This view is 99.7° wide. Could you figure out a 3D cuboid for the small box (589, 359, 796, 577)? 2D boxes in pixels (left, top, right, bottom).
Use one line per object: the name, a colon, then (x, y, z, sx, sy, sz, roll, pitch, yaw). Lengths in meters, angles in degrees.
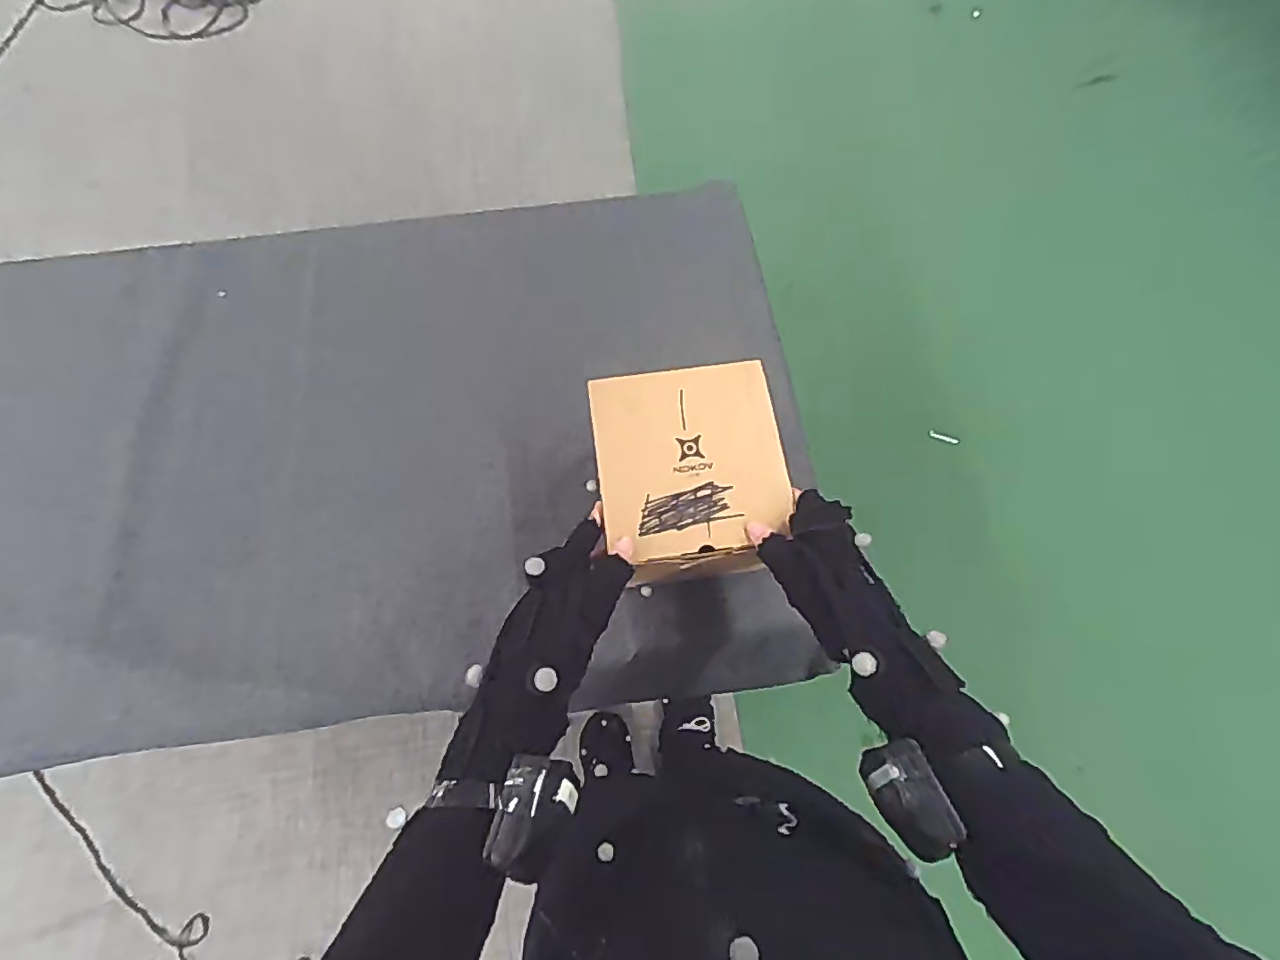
small box: (0.044, 0.001, 0.558, 0.168, 0.176, 0.179, -8, 72, -2)
